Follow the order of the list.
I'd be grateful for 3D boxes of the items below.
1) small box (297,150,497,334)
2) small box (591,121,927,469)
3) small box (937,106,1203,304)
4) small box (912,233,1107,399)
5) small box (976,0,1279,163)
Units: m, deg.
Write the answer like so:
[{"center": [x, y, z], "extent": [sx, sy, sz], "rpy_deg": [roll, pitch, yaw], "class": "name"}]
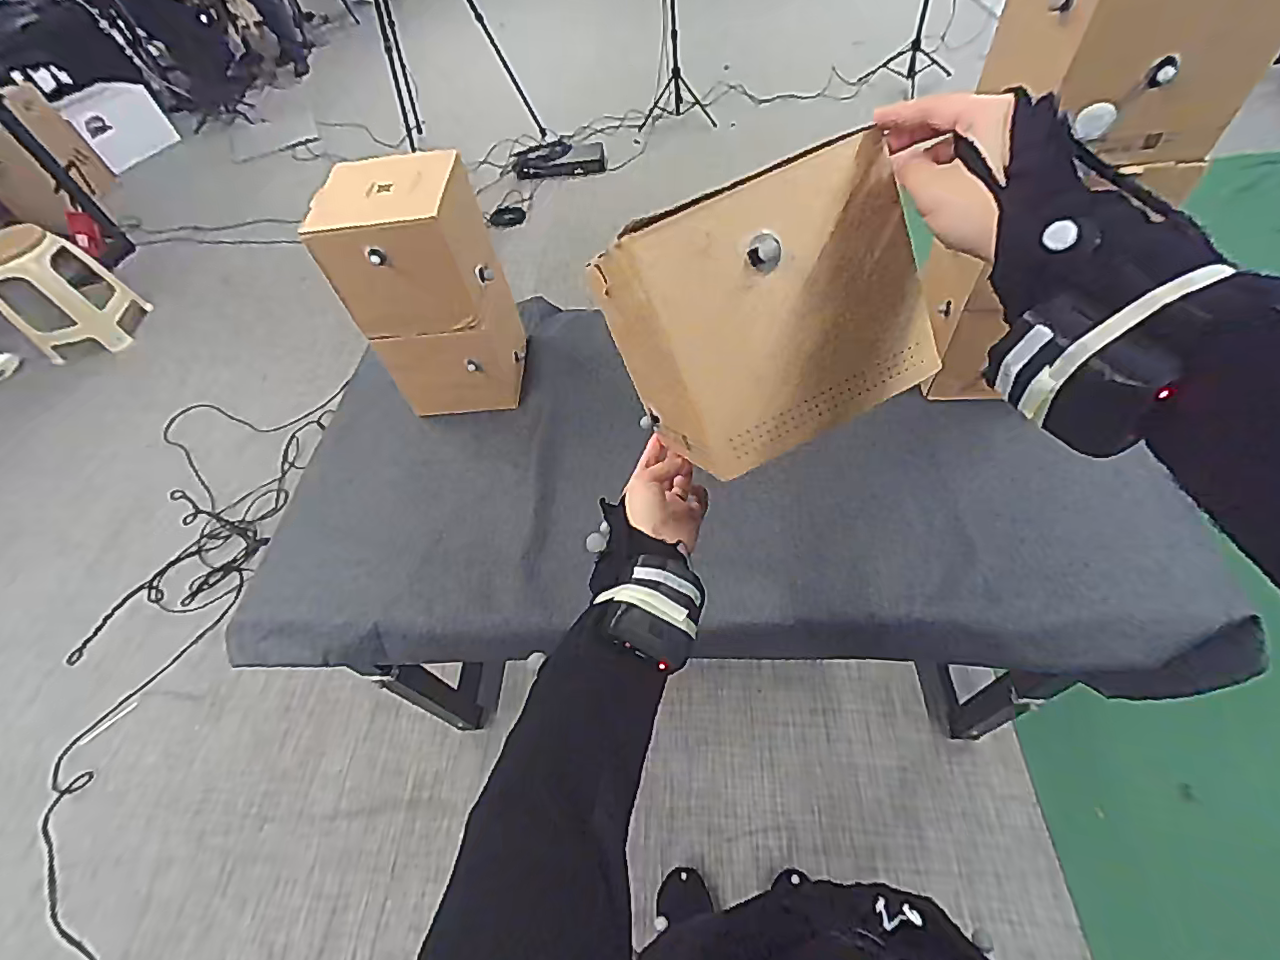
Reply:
[{"center": [-0.316, -0.320, 0.745], "extent": [0.179, 0.176, 0.168], "rpy_deg": [-4, 56, 3], "class": "small box"}, {"center": [0.082, -0.125, 0.415], "extent": [0.179, 0.176, 0.168], "rpy_deg": [-25, 18, -6], "class": "small box"}, {"center": [0.479, -0.326, 0.641], "extent": [0.168, 0.176, 0.179], "rpy_deg": [1, 57, 8], "class": "small box"}, {"center": [0.501, -0.237, 0.777], "extent": [0.168, 0.176, 0.179], "rpy_deg": [0, 56, 8], "class": "small box"}, {"center": [0.453, -0.420, 0.507], "extent": [0.168, 0.176, 0.179], "rpy_deg": [-1, 55, 7], "class": "small box"}]
